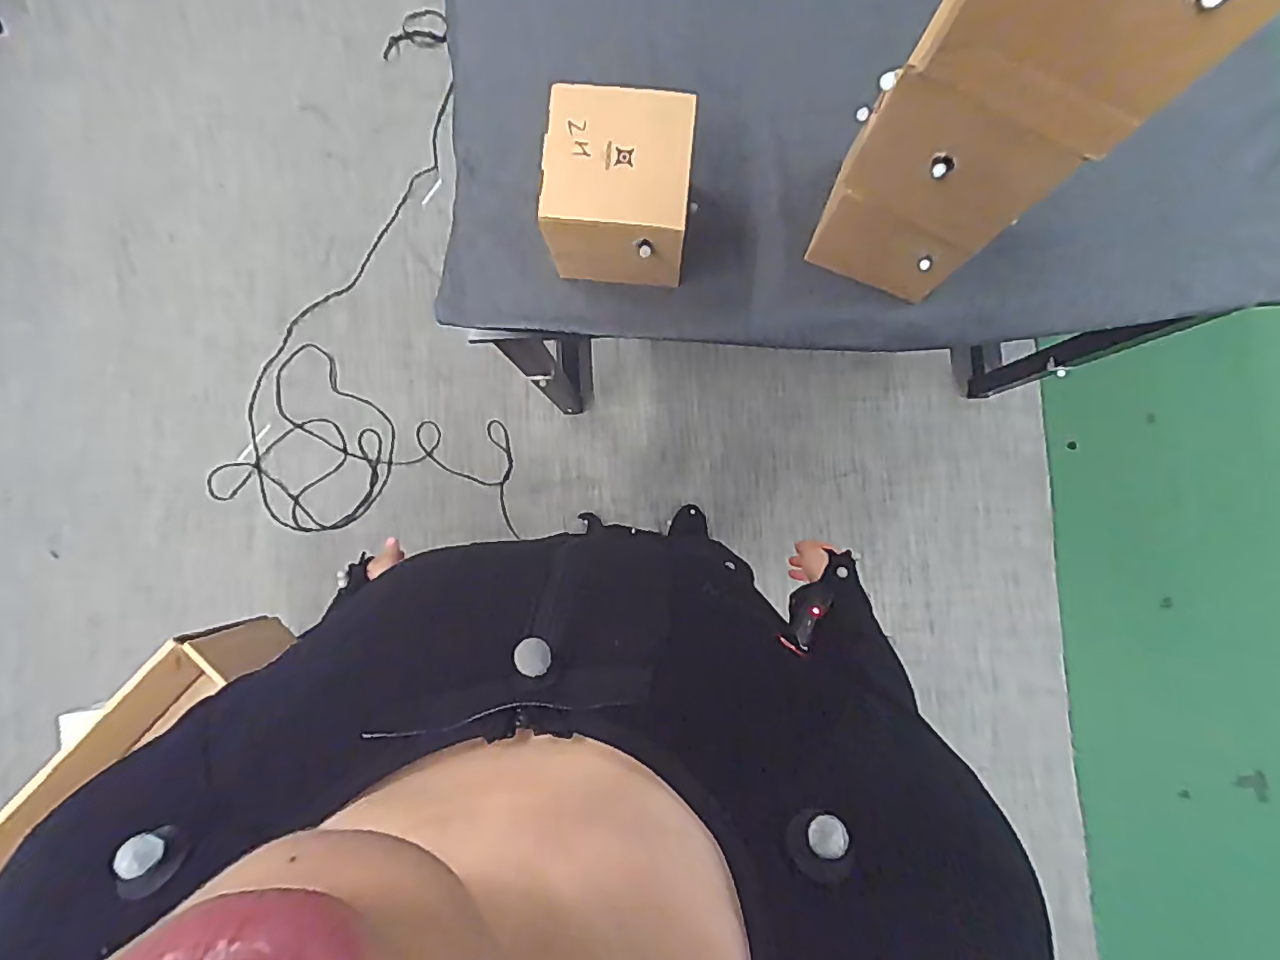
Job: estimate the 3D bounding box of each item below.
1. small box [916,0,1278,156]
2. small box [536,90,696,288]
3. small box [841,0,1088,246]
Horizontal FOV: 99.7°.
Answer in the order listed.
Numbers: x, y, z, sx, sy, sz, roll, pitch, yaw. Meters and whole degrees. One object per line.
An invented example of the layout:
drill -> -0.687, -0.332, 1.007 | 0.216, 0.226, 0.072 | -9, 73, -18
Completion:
small box -> 0.337, -0.376, 0.379 | 0.179, 0.176, 0.168 | 30, 87, 3
small box -> -0.027, -0.369, 0.716 | 0.179, 0.176, 0.168 | 5, 87, 2
small box -> 0.338, -0.368, 0.541 | 0.179, 0.176, 0.168 | 31, 87, 4
